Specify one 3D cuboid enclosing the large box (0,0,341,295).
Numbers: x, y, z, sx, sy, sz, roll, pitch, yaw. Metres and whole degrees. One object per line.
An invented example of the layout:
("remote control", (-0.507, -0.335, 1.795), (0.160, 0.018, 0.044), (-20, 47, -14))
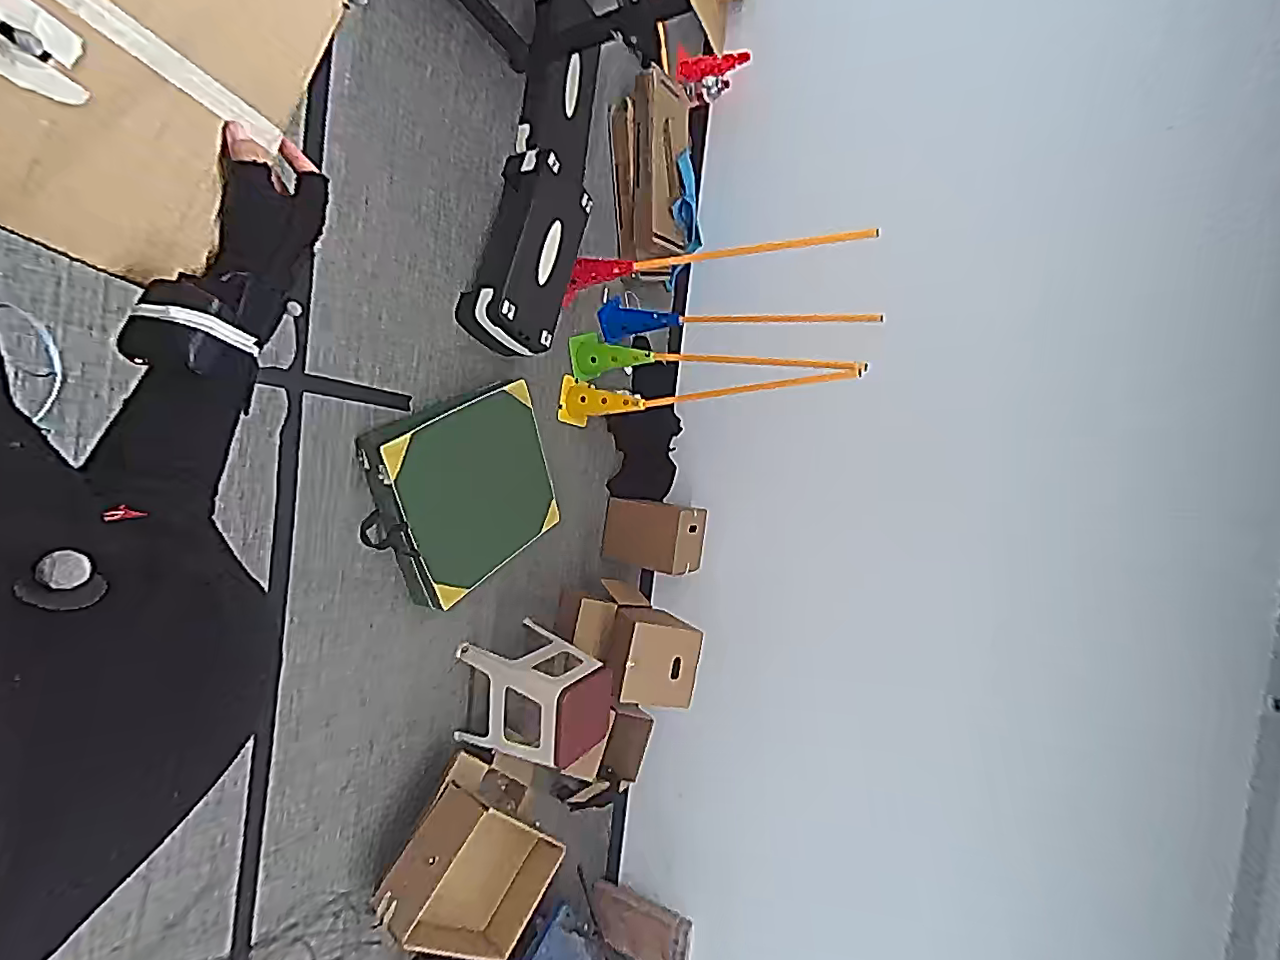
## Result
("large box", (-0.528, -0.389, 0.376), (0.408, 0.320, 0.320), (27, 88, -60))
